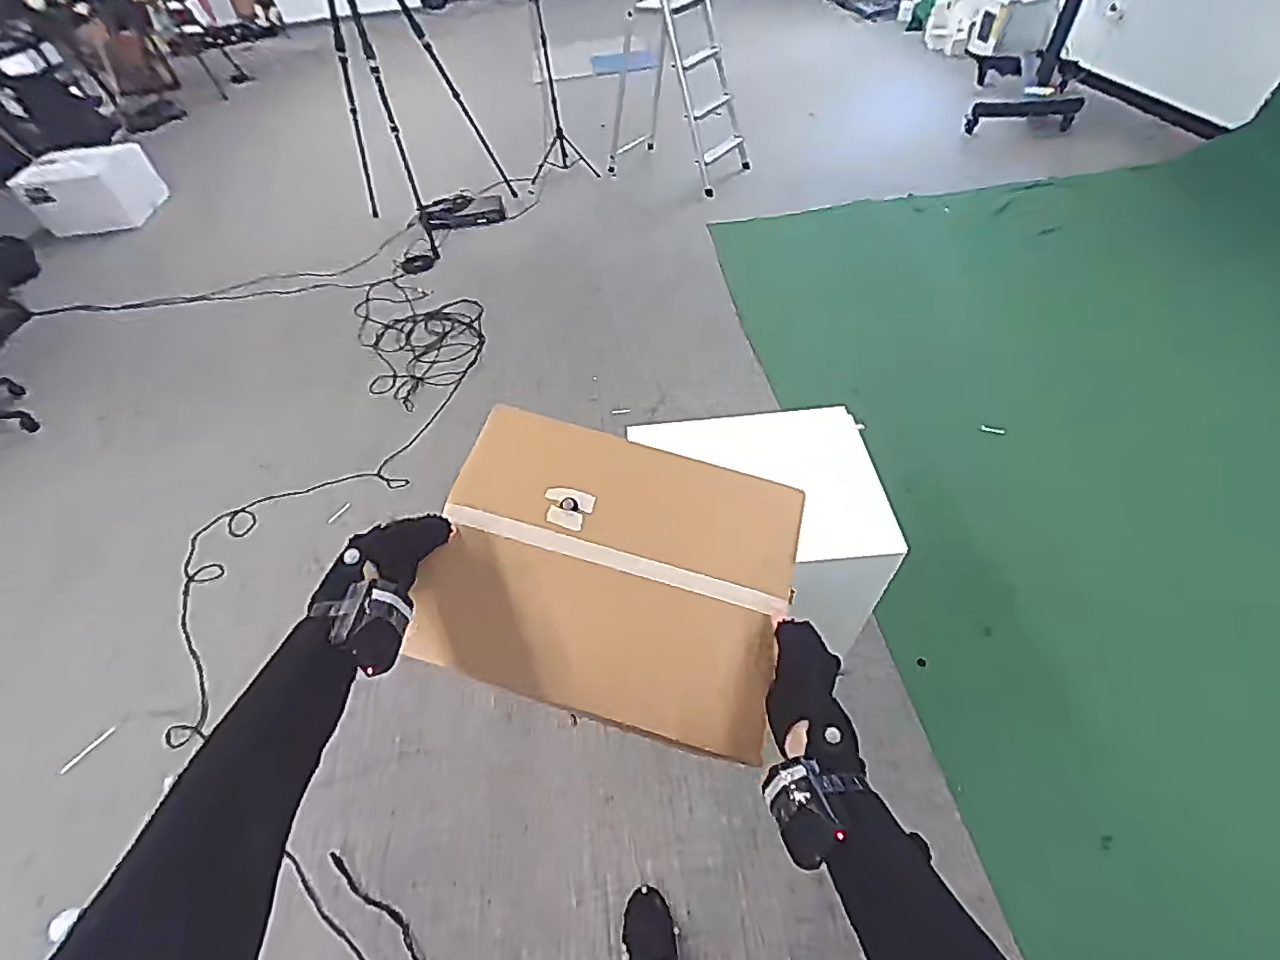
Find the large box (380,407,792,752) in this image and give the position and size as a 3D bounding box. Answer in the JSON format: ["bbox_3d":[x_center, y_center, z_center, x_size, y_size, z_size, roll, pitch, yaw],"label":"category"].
[{"bbox_3d":[-0.047,0.150,0.748,0.408,0.320,0.320,16,65,6],"label":"large box"}]
